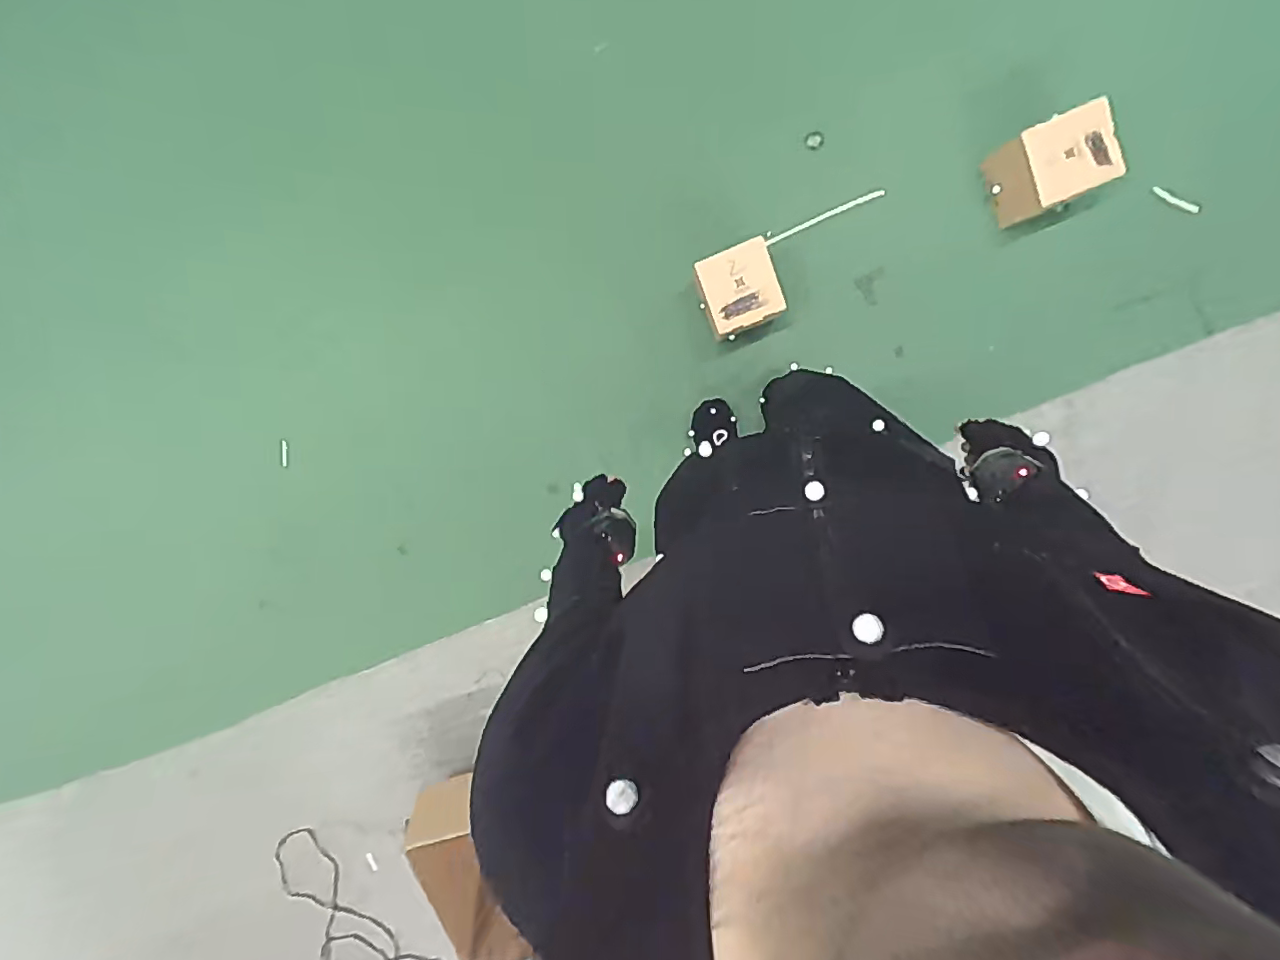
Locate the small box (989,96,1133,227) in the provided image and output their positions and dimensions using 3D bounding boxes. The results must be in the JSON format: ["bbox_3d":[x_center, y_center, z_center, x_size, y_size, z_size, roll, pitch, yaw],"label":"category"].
[{"bbox_3d":[0.928,-0.698,1.206,0.179,0.176,0.168,-21,97,9],"label":"small box"}]
